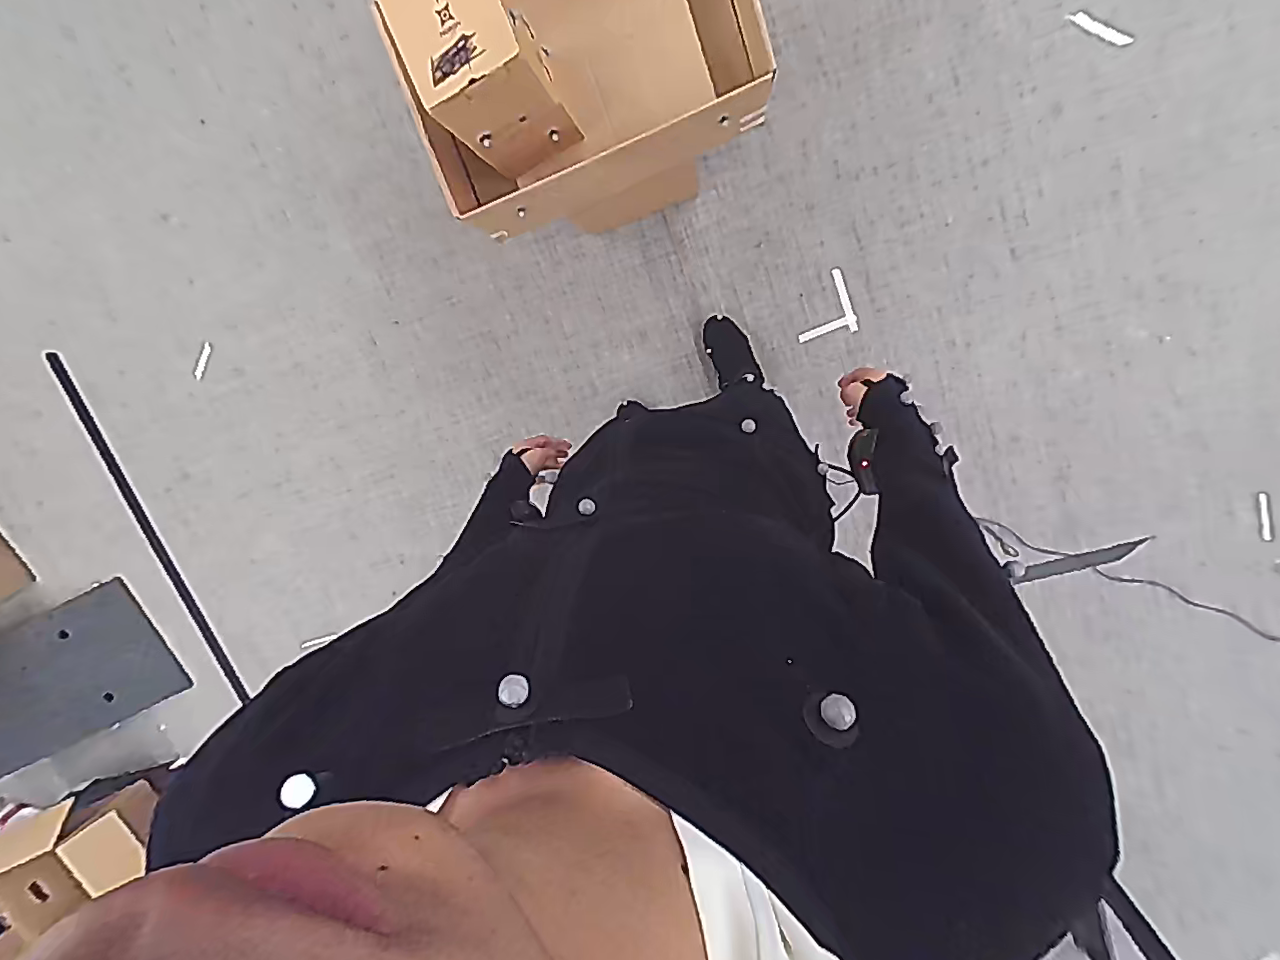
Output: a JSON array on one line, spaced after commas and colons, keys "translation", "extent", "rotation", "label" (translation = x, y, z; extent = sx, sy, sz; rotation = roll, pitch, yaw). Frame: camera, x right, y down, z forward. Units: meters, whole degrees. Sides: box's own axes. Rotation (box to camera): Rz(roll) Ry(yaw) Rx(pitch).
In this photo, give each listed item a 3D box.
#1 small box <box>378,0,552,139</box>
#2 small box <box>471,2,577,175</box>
[{"translation": [-0.258, -0.663, 0.833], "extent": [0.168, 0.176, 0.179], "rotation": [-21, 99, 13], "label": "small box"}, {"translation": [-0.230, -0.698, 0.990], "extent": [0.179, 0.176, 0.168], "rotation": [-22, 100, 14], "label": "small box"}]
